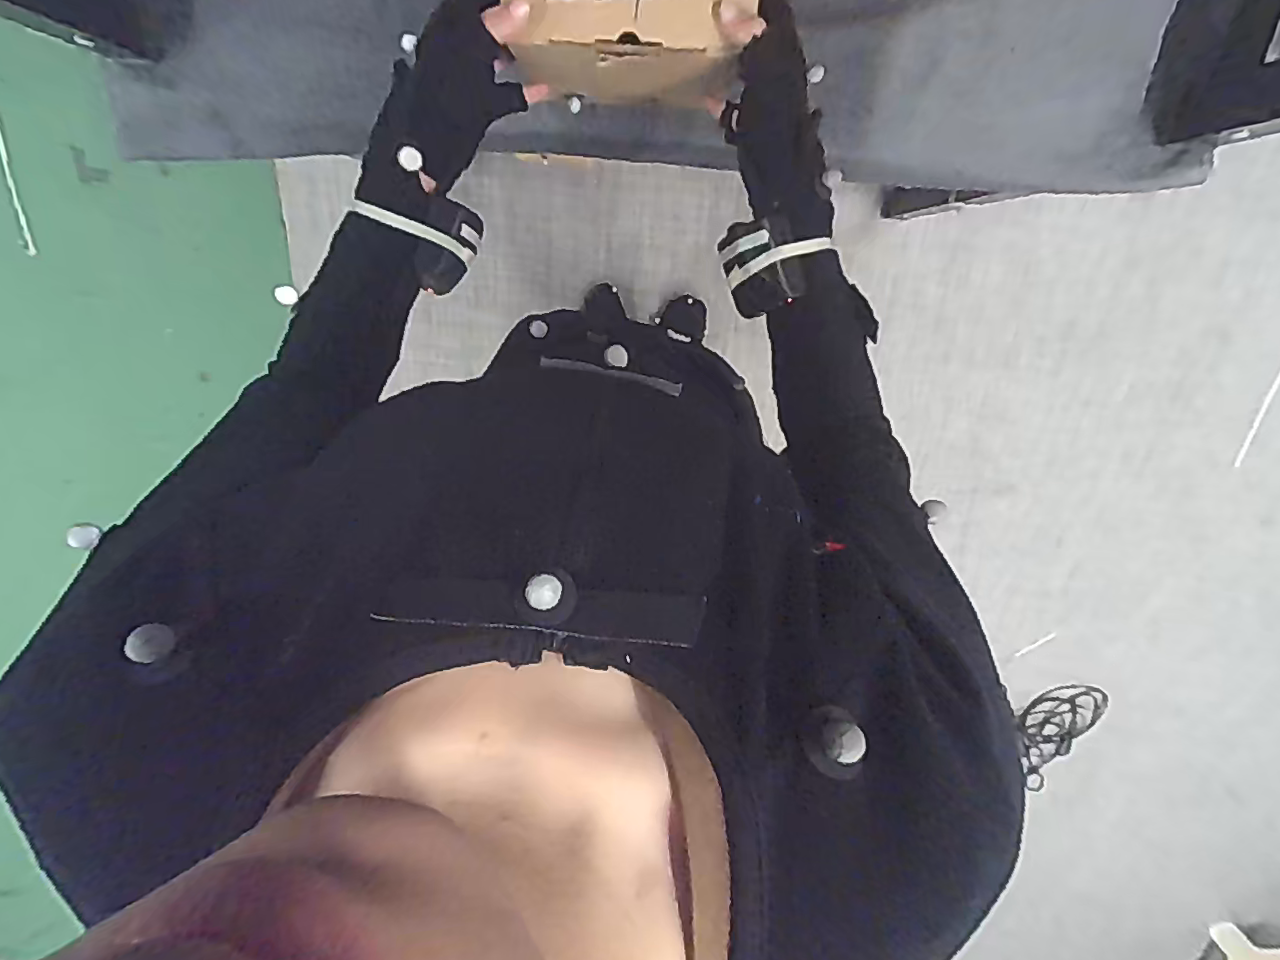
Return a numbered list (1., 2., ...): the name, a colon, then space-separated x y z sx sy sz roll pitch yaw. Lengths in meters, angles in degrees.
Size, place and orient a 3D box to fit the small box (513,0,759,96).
1. small box: 0.002 -0.406 0.400 0.168 0.176 0.179 2 114 0
